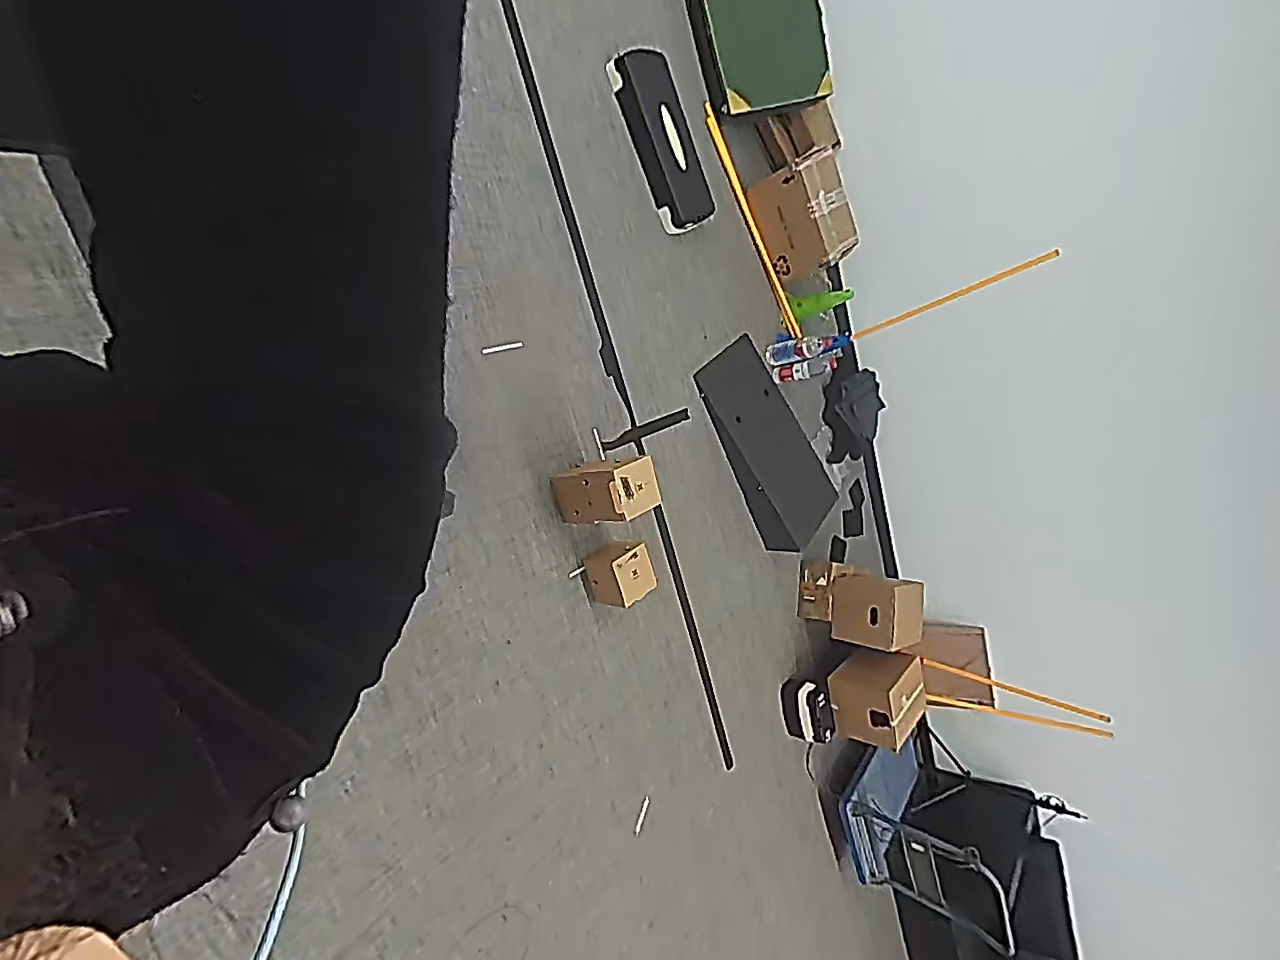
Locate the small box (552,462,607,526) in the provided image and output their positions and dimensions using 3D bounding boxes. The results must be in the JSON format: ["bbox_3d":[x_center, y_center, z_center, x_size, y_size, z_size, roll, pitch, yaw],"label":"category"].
[{"bbox_3d":[-0.173,0.042,1.846,0.168,0.176,0.179,-28,107,-41],"label":"small box"}]

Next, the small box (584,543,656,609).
[{"bbox_3d":[-0.073,0.335,1.927,0.168,0.176,0.179,-28,107,-41],"label":"small box"}]

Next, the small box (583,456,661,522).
[{"bbox_3d":[-0.064,0.029,1.724,0.179,0.176,0.168,-25,106,-43],"label":"small box"}]
